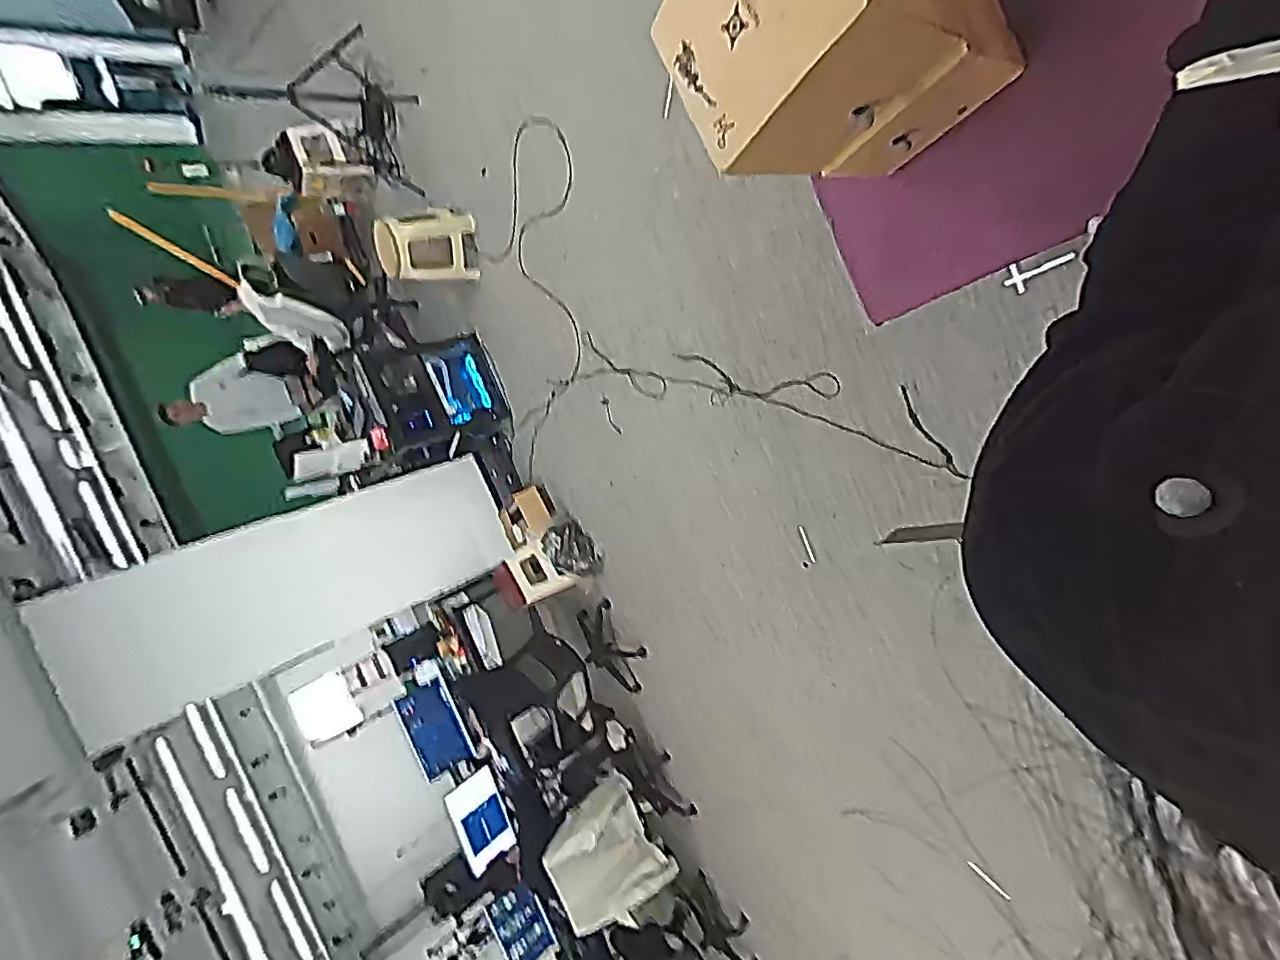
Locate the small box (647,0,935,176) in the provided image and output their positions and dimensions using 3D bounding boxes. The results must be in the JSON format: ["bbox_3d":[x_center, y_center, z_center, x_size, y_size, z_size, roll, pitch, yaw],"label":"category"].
[{"bbox_3d":[0.145,-0.420,0.509,0.179,0.176,0.168,-27,87,54],"label":"small box"}]

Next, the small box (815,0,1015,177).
[{"bbox_3d":[0.273,-0.471,0.597,0.168,0.176,0.179,-25,90,55],"label":"small box"}]
